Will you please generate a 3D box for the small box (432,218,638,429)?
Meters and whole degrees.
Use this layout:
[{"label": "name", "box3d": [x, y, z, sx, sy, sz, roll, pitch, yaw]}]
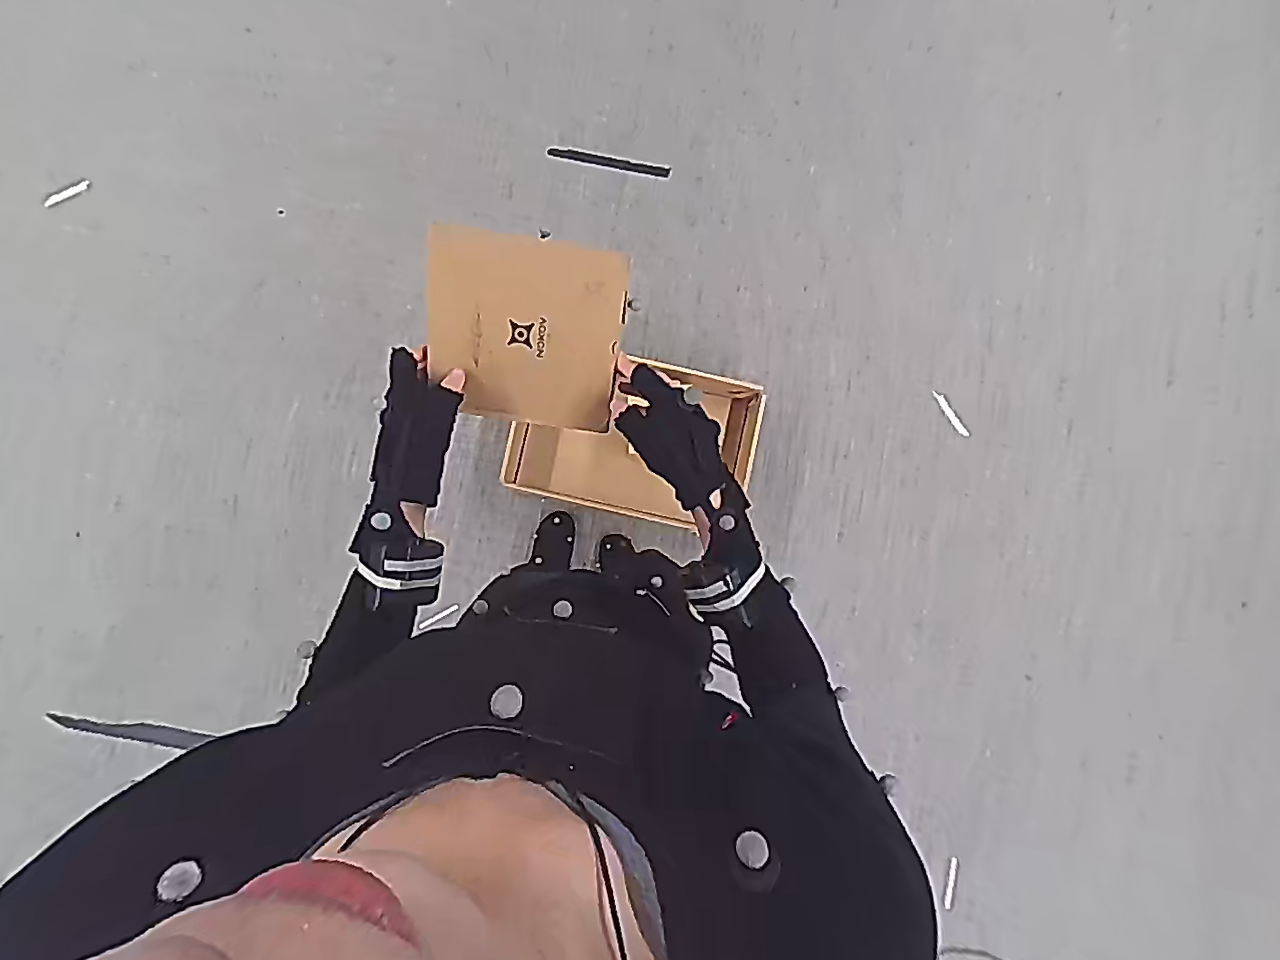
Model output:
[{"label": "small box", "box3d": [-0.099, -0.162, 0.557, 0.179, 0.176, 0.168, 7, 110, -3]}]
